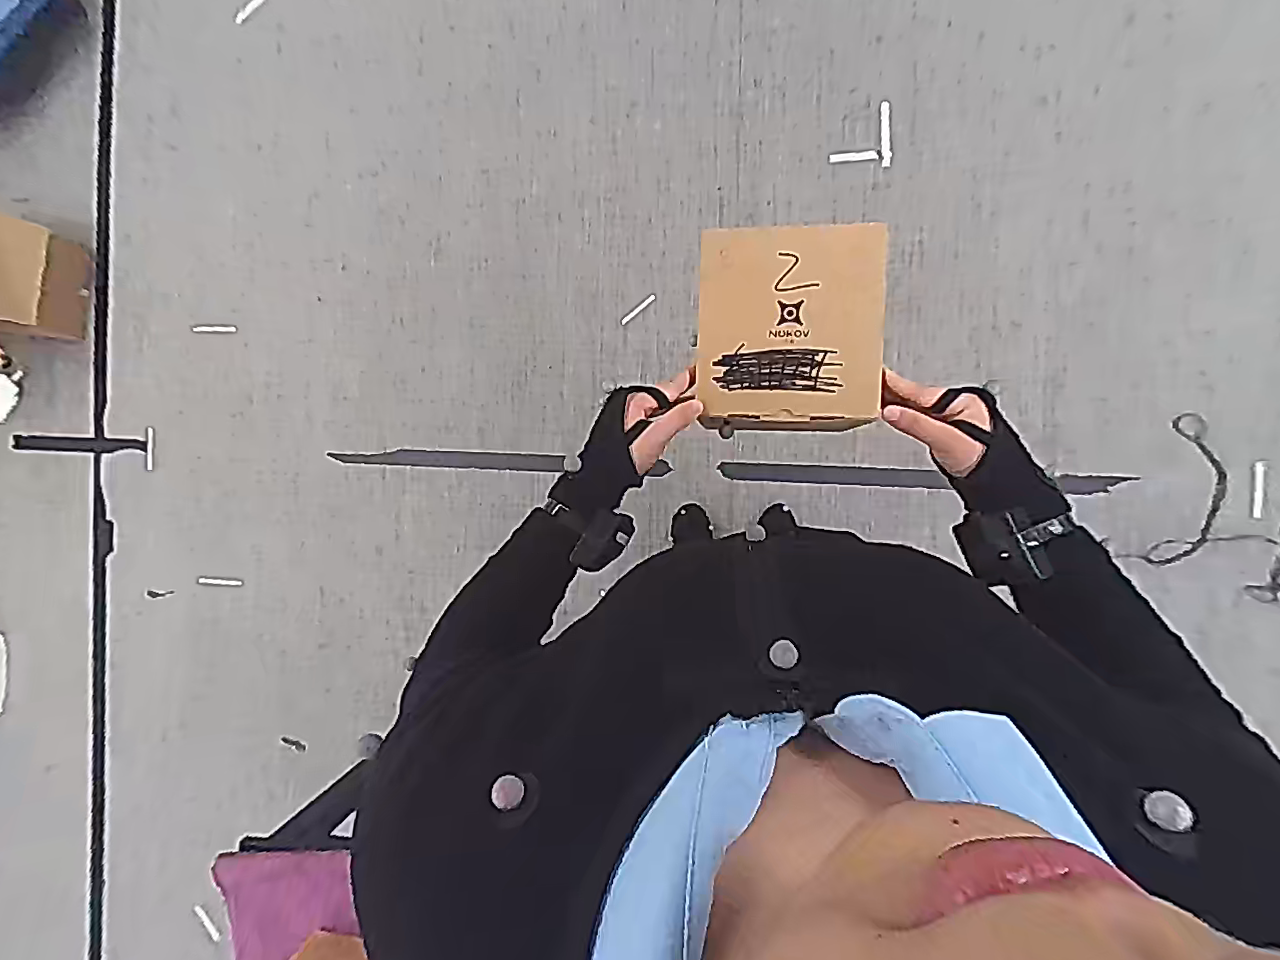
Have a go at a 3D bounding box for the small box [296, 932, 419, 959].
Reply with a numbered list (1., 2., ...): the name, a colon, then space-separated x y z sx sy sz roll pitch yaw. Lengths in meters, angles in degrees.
1. small box: -0.442 0.796 0.767 0.179 0.176 0.168 4 92 7
